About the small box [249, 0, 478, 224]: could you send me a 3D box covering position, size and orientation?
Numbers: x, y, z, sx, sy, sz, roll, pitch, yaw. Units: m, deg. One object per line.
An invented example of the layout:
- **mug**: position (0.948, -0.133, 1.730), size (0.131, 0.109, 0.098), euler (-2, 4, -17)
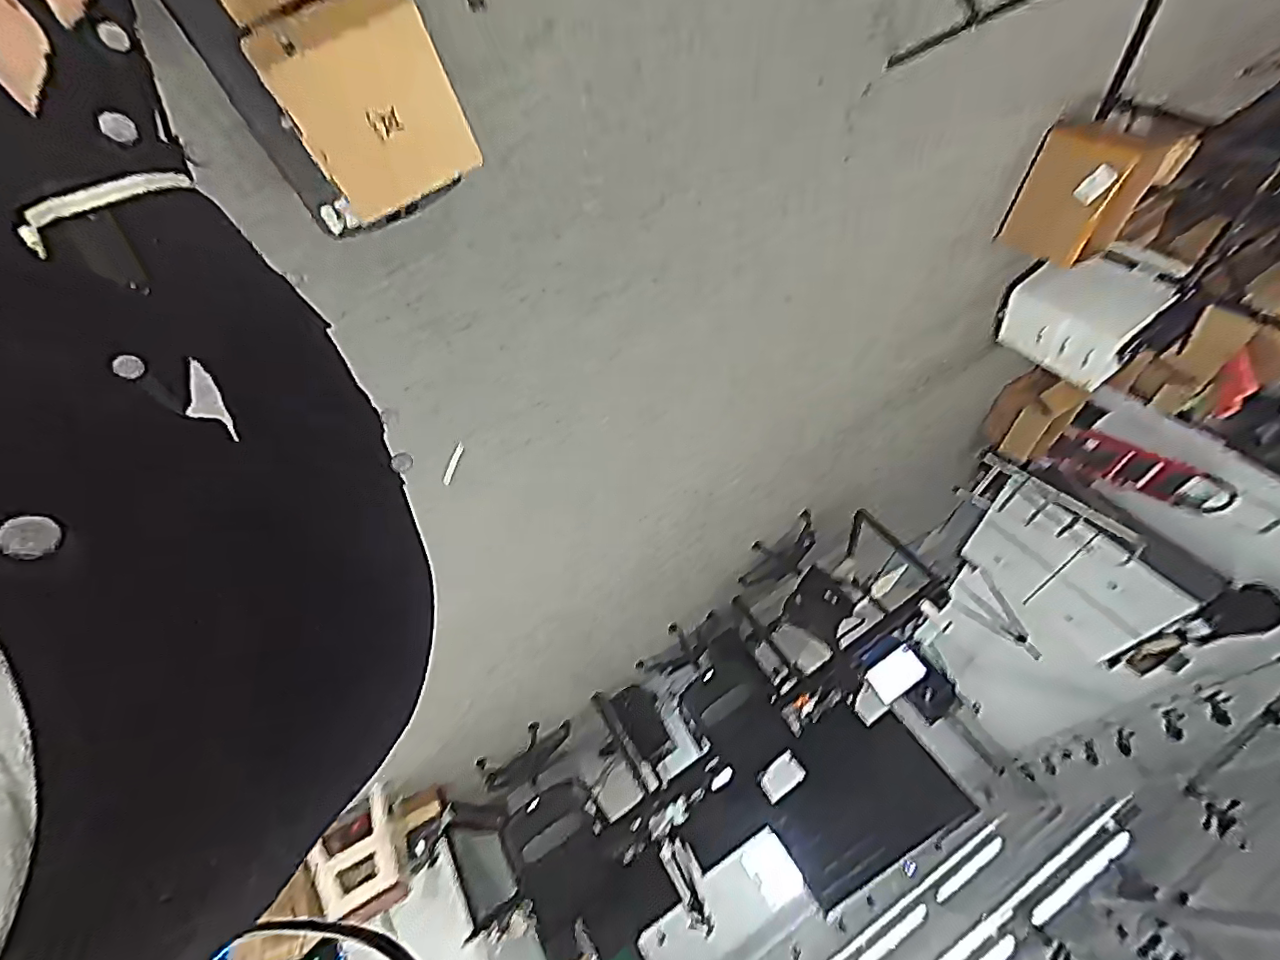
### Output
- **small box**: position (-0.335, -0.459, 0.662), size (0.179, 0.176, 0.168), euler (-33, 146, -9)

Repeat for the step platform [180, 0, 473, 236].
- **step platform**: position (-0.517, -0.728, 0.785), size (0.286, 0.204, 0.684), euler (-33, 144, -11)
